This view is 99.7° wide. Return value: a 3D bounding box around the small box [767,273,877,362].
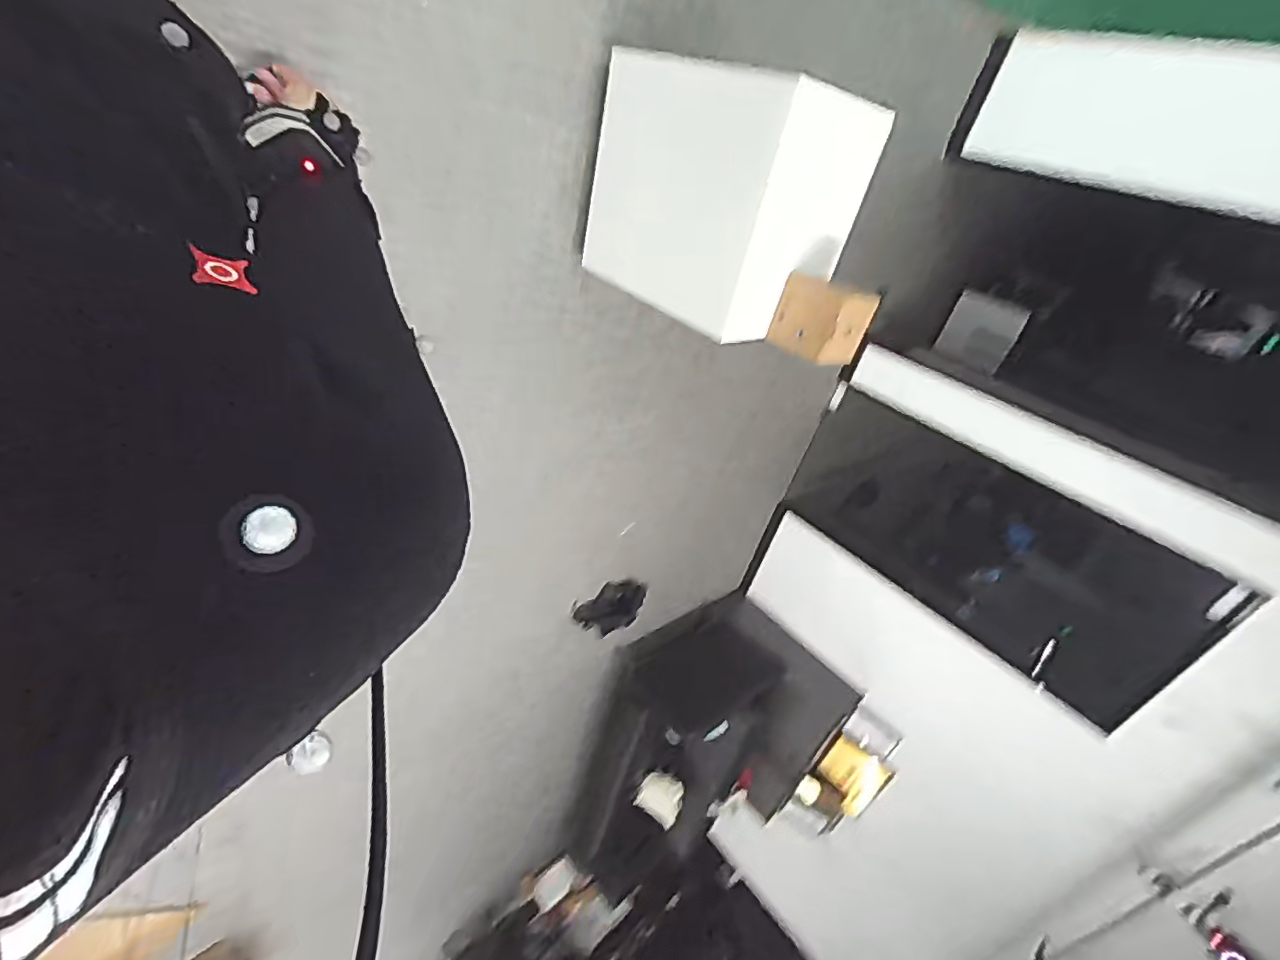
[{"bbox_3d":[0.447,-0.406,1.348,0.179,0.176,0.168,-16,133,-42],"label":"small box"}]
